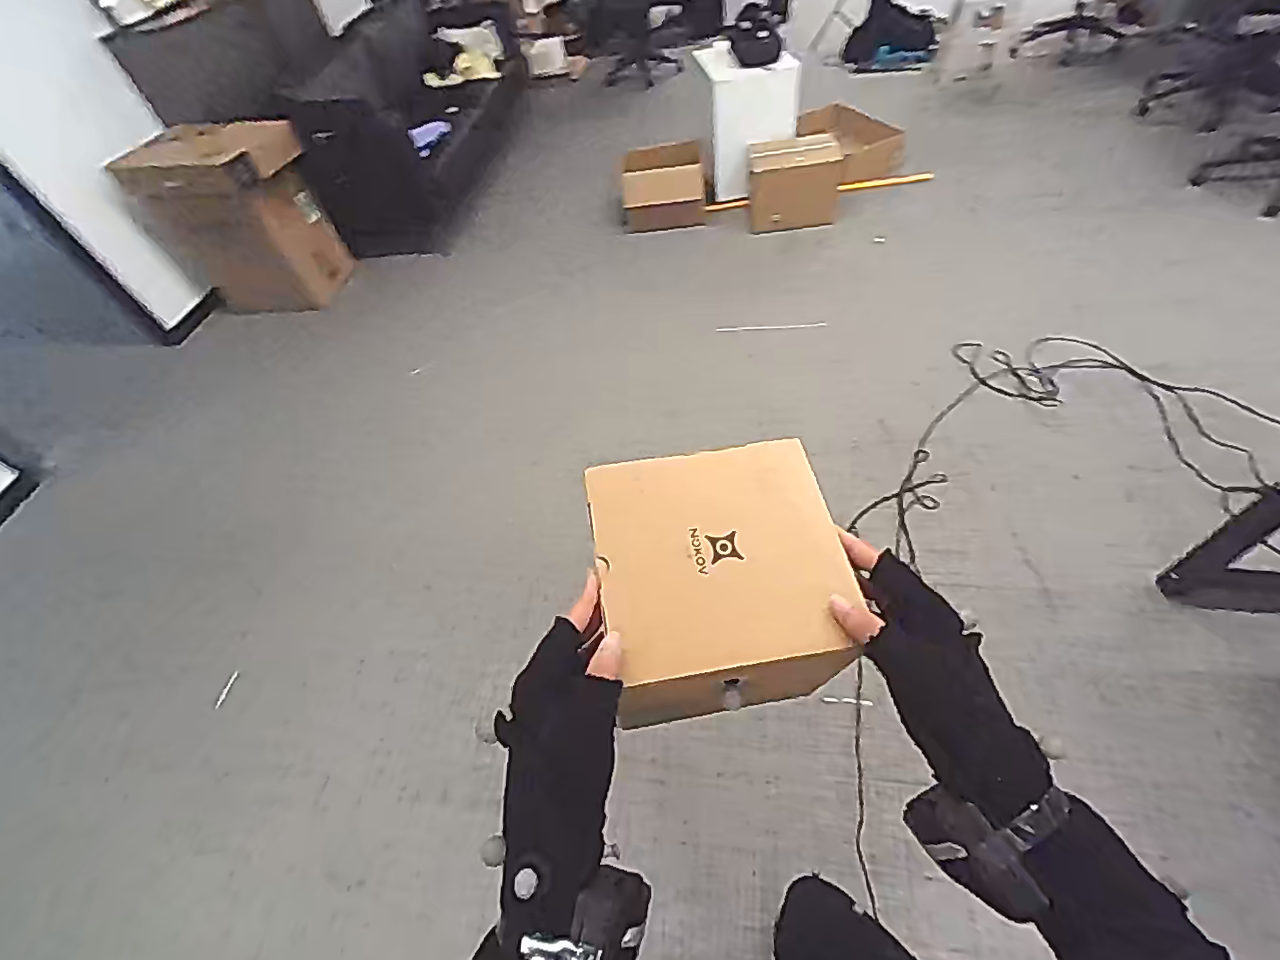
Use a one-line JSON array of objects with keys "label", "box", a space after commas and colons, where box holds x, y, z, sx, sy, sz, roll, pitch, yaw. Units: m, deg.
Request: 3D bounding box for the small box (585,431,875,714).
[{"label": "small box", "box": [0.056, 0.083, 0.447, 0.179, 0.176, 0.168, -9, 58, -3]}]
